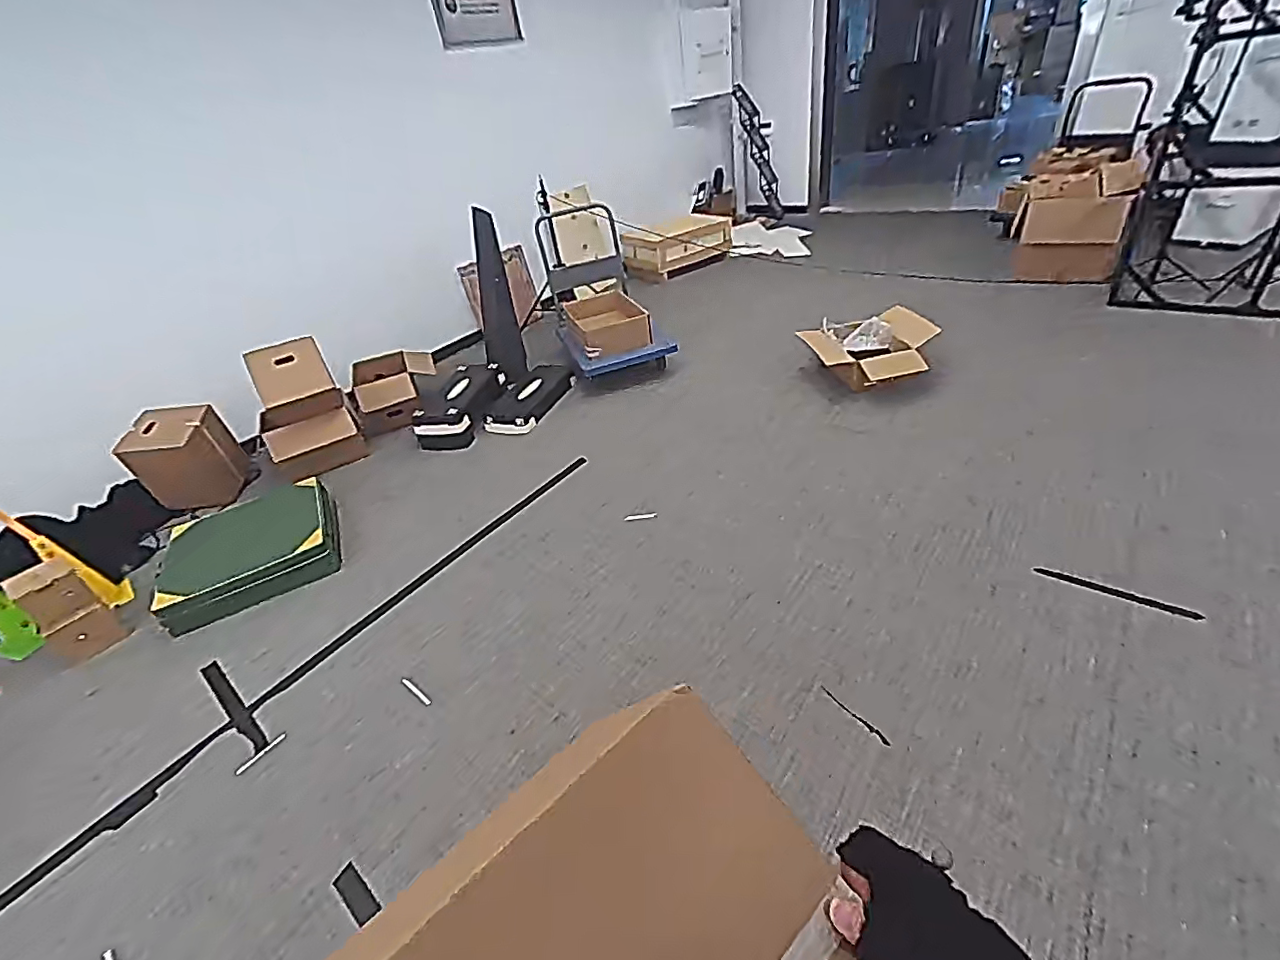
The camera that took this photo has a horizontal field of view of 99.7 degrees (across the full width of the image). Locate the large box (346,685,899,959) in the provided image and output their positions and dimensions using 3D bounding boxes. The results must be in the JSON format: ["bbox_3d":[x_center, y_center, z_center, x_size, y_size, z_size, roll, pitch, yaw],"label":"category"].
[{"bbox_3d":[-0.057,0.420,0.375,0.408,0.320,0.320,-34,76,-28],"label":"large box"}]
